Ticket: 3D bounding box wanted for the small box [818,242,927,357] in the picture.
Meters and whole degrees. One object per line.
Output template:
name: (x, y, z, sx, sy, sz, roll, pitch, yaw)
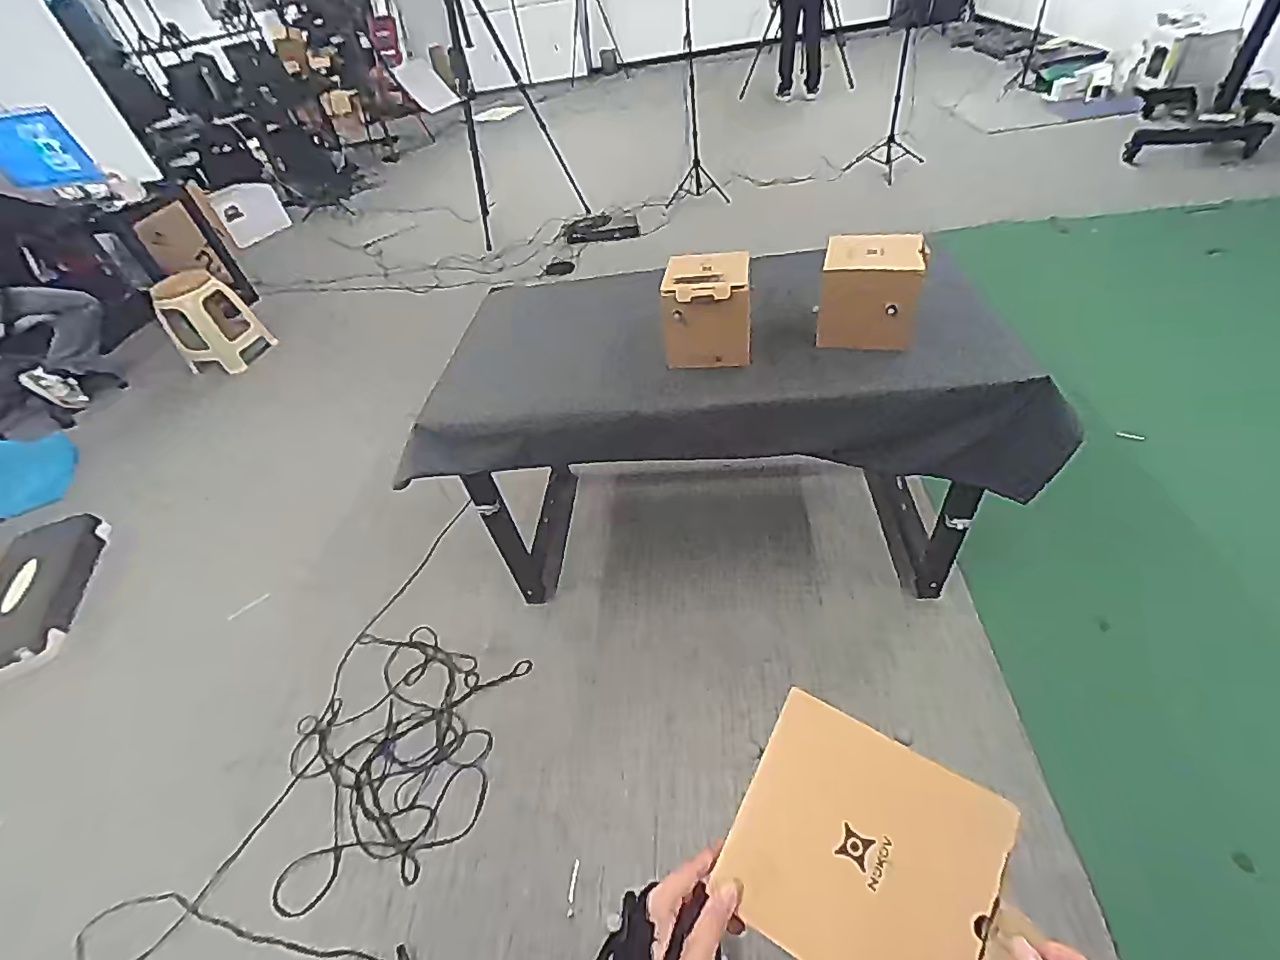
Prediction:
small box: (0.463, -0.362, 1.089, 0.179, 0.176, 0.168, 7, 45, 19)
